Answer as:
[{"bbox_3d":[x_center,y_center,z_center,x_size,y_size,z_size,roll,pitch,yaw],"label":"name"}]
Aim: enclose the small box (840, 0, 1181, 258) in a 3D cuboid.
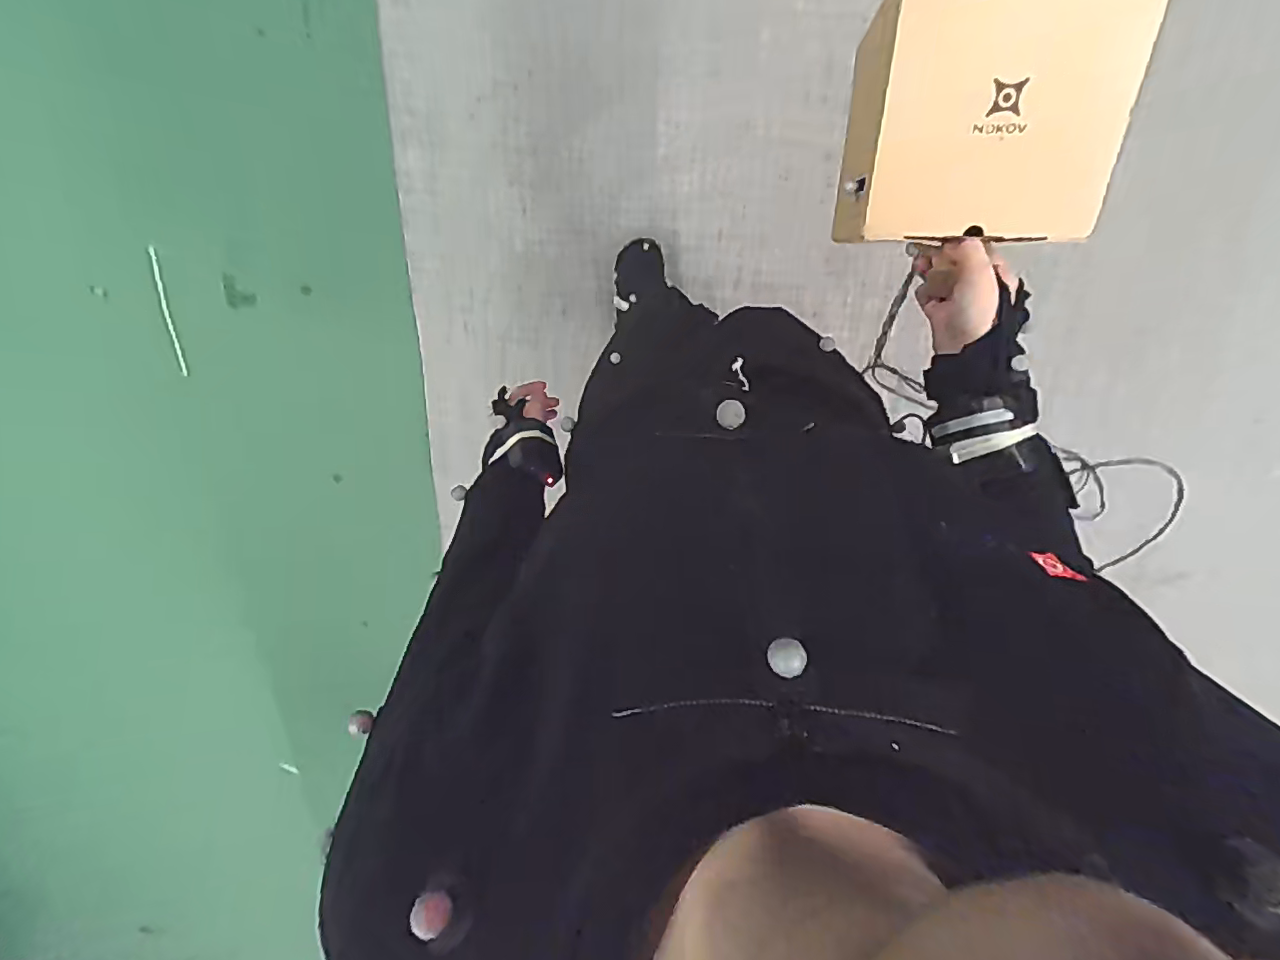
[{"bbox_3d":[0.277,-0.285,0.455,0.168,0.176,0.179,6,114,8],"label":"small box"}]
